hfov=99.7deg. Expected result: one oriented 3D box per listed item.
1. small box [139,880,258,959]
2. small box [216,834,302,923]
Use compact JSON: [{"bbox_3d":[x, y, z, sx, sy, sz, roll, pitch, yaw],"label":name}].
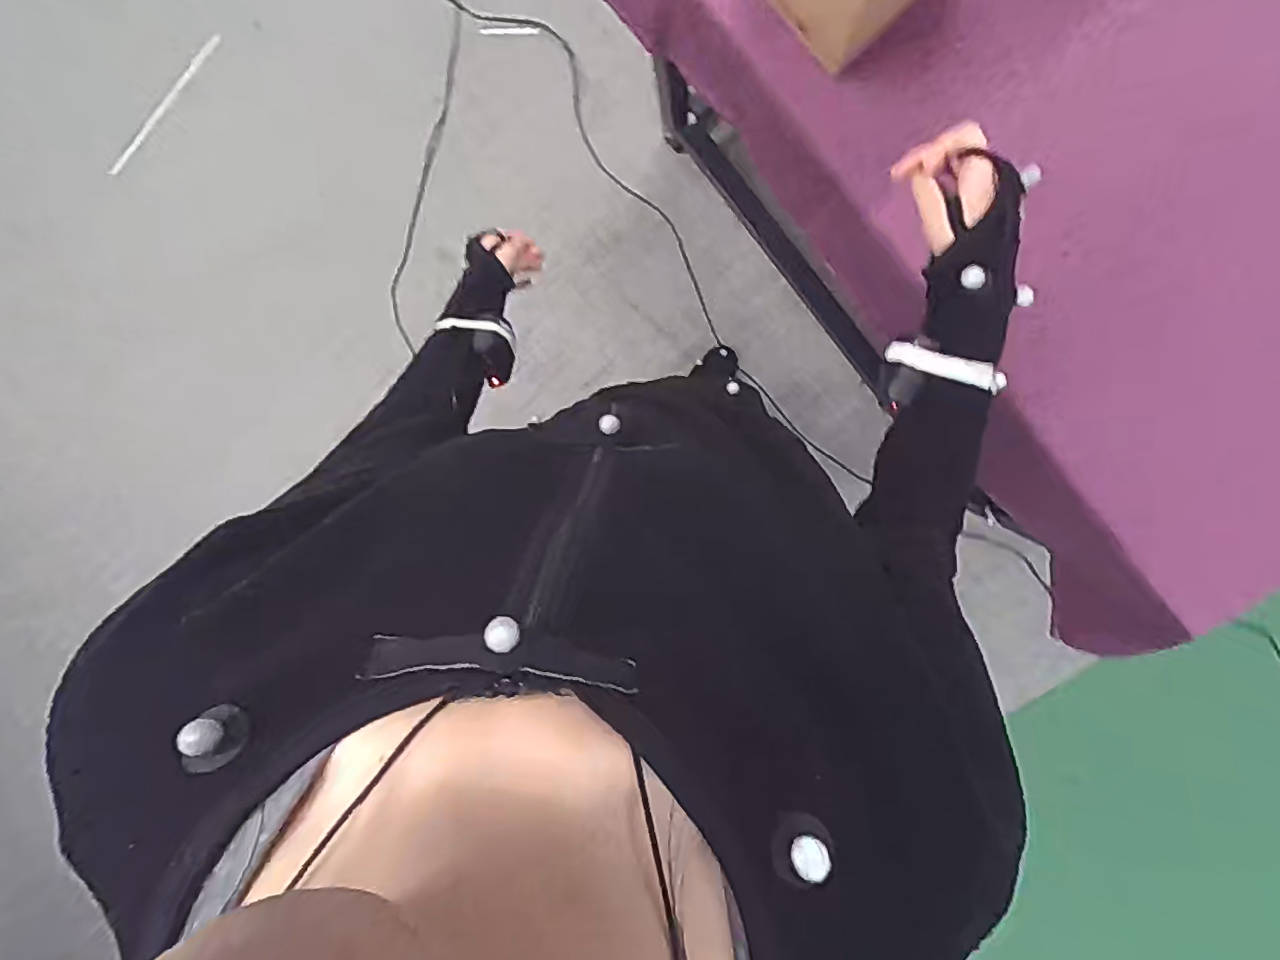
[{"bbox_3d":[-1.288,1.339,1.591,0.168,0.176,0.179,-42,95,12],"label":"small box"},{"bbox_3d":[-1.252,1.304,1.749,0.179,0.176,0.168,-37,96,11],"label":"small box"}]
